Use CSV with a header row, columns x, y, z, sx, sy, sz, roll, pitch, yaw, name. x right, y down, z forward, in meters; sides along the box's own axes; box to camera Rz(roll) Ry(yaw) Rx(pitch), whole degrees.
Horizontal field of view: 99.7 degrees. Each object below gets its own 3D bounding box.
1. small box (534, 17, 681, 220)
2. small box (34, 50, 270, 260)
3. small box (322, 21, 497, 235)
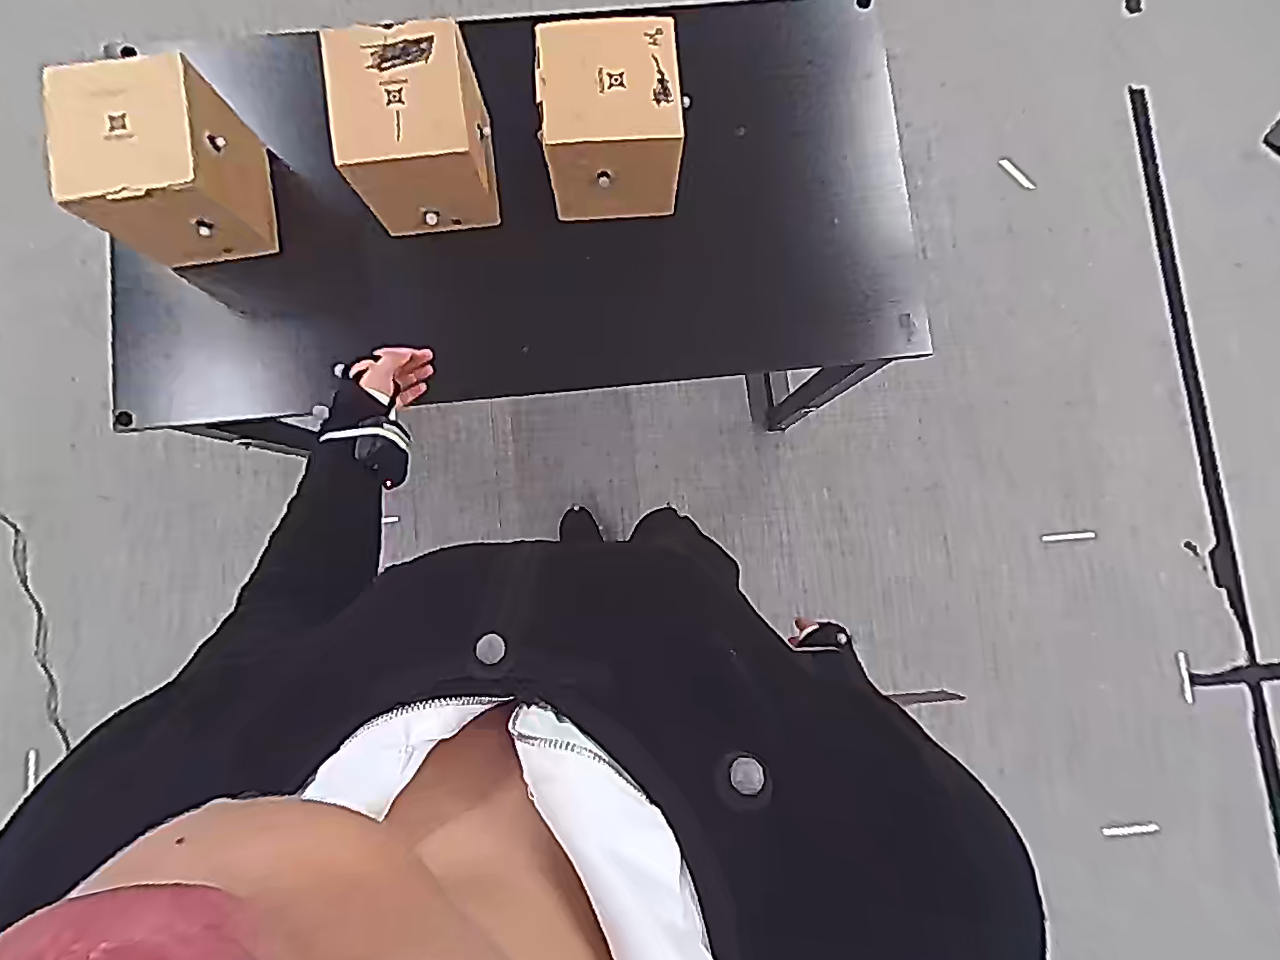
x,y,z,sx,sy,sz,roll,pitch,yaw,name
-0.040,-0.482,0.744,0.179,0.176,0.168,-4,85,-1,small box
-0.628,-0.413,0.719,0.168,0.176,0.179,-10,85,-4,small box
-0.300,-0.464,0.734,0.168,0.176,0.179,-7,86,-2,small box
